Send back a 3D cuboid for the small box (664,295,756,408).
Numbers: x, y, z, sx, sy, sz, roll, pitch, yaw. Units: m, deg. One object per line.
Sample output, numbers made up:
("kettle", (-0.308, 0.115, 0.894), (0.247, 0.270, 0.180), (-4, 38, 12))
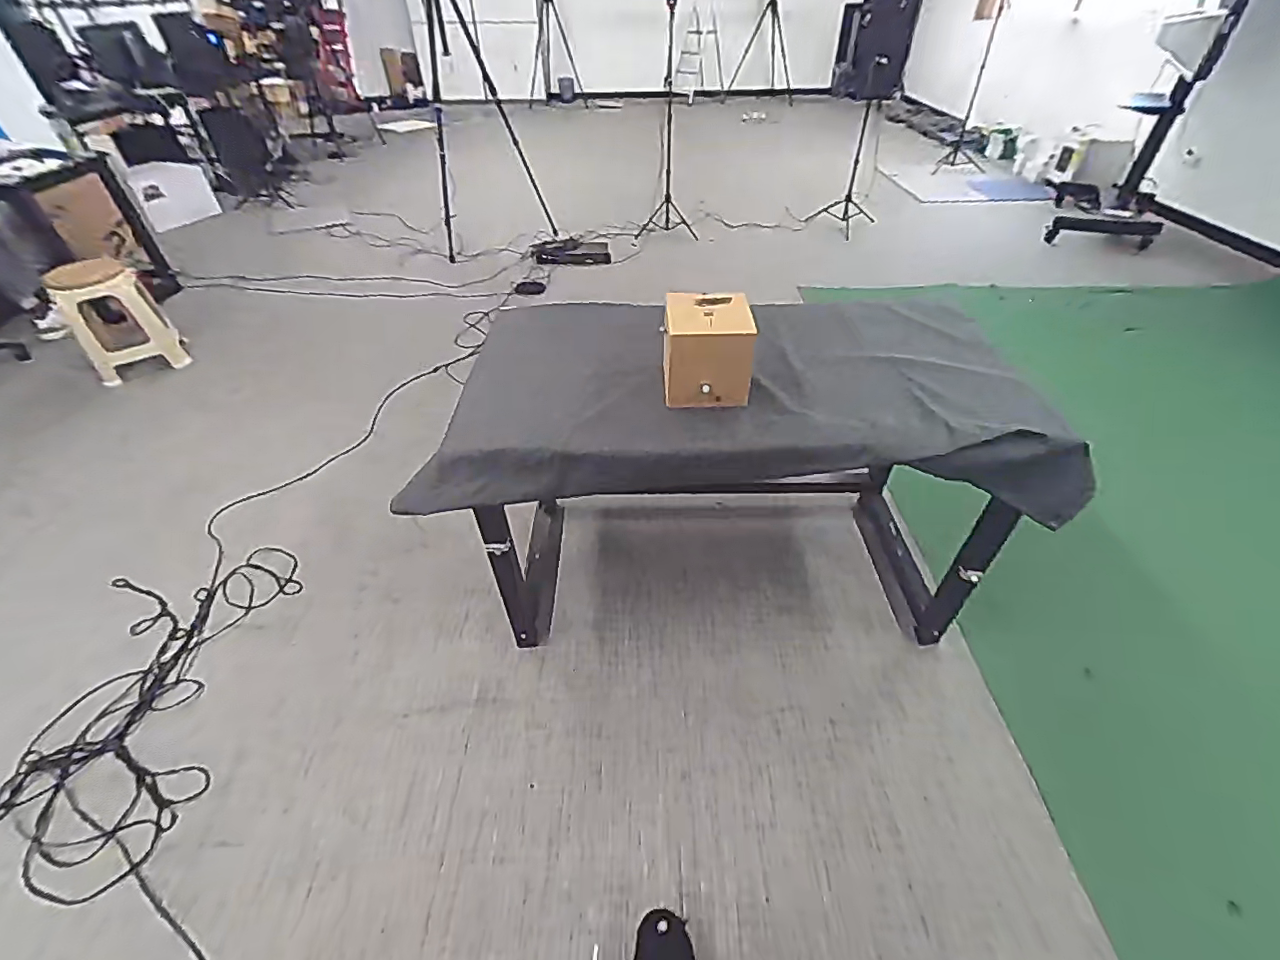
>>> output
("small box", (0.135, -0.267, 1.117), (0.168, 0.176, 0.179), (-1, 43, 0))
